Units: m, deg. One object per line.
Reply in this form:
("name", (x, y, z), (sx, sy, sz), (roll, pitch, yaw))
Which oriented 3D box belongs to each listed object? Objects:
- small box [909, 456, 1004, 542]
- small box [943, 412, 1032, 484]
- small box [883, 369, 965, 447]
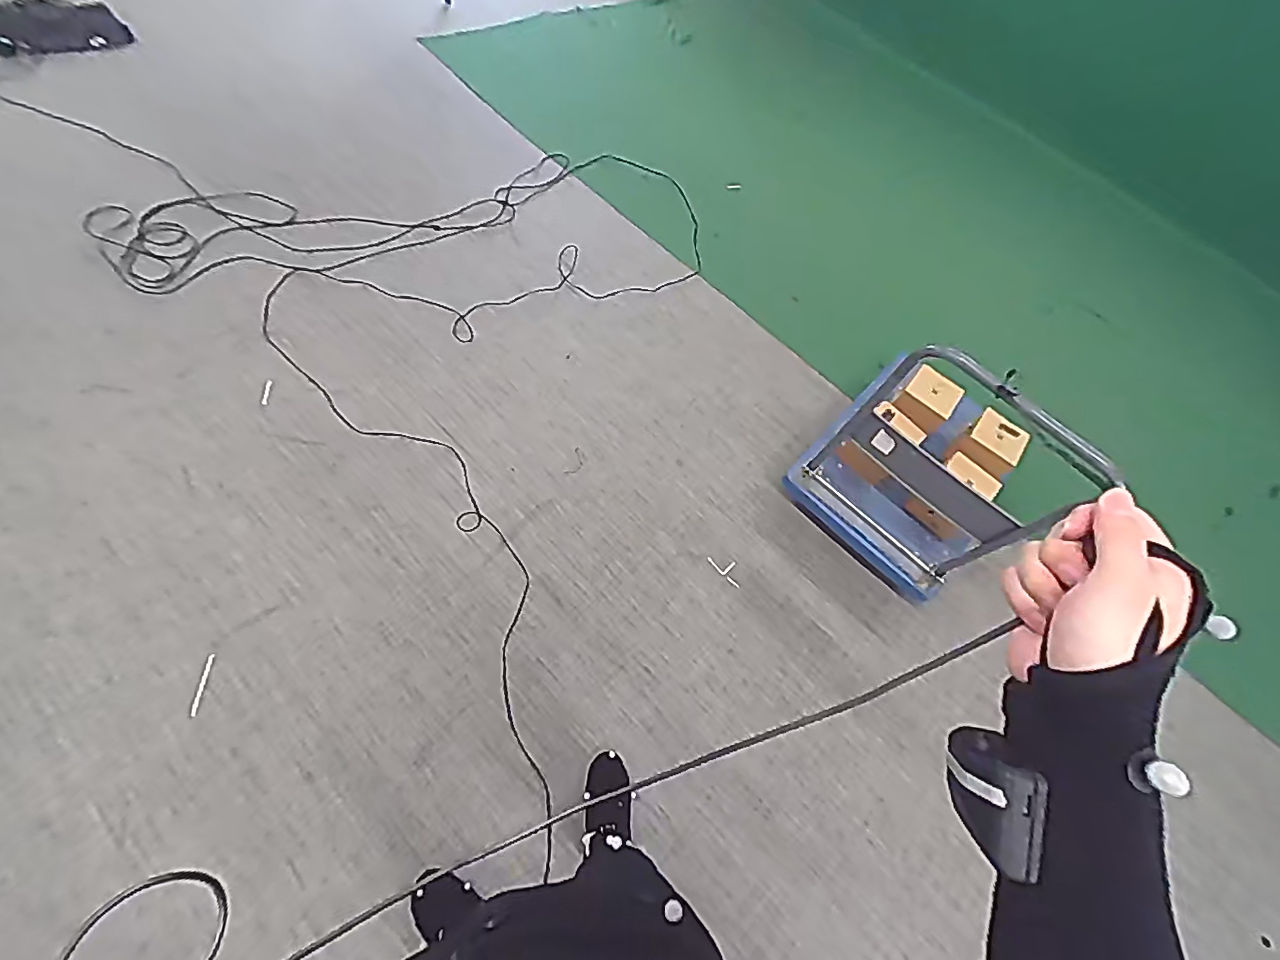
("small box", (0.993, 0.063, 1.712), (0.168, 0.176, 0.179), (43, 62, 14))
("small box", (1.175, -0.092, 1.838), (0.168, 0.176, 0.179), (39, 61, 12))
("small box", (0.982, -0.246, 1.887), (0.168, 0.176, 0.179), (39, 60, 11))
